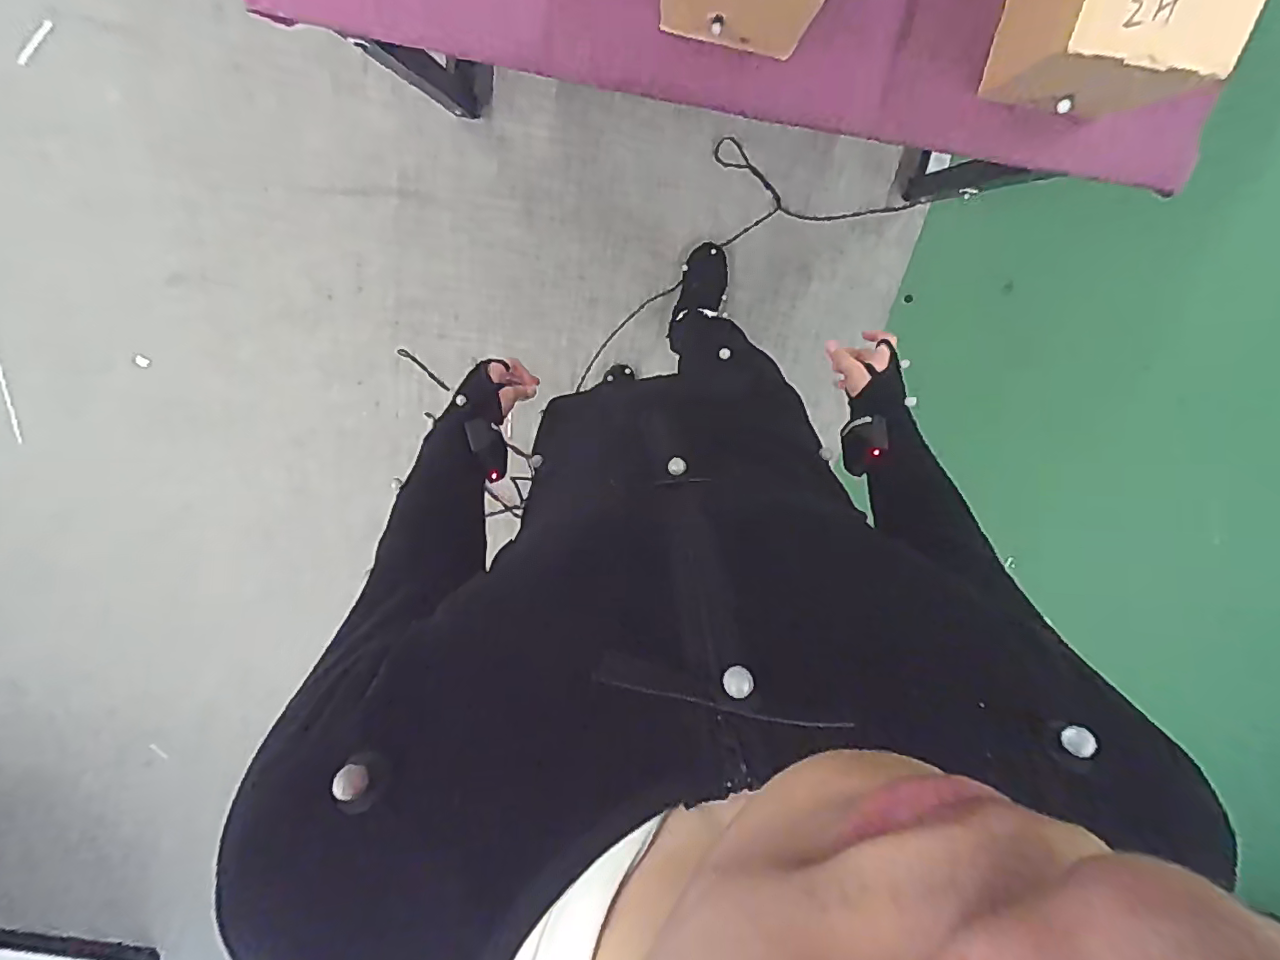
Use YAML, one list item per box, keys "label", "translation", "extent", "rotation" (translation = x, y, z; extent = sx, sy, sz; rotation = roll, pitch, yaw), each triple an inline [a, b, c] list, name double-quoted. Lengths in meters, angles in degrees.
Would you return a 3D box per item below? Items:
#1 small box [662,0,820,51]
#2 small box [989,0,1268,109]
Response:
- label: "small box"
  translation: [0.116, -0.587, 0.552]
  extent: [0.168, 0.176, 0.179]
  rotation: [11, 112, -2]
- label: "small box"
  translation: [0.506, -0.516, 0.558]
  extent: [0.168, 0.176, 0.179]
  rotation: [9, 113, 0]
